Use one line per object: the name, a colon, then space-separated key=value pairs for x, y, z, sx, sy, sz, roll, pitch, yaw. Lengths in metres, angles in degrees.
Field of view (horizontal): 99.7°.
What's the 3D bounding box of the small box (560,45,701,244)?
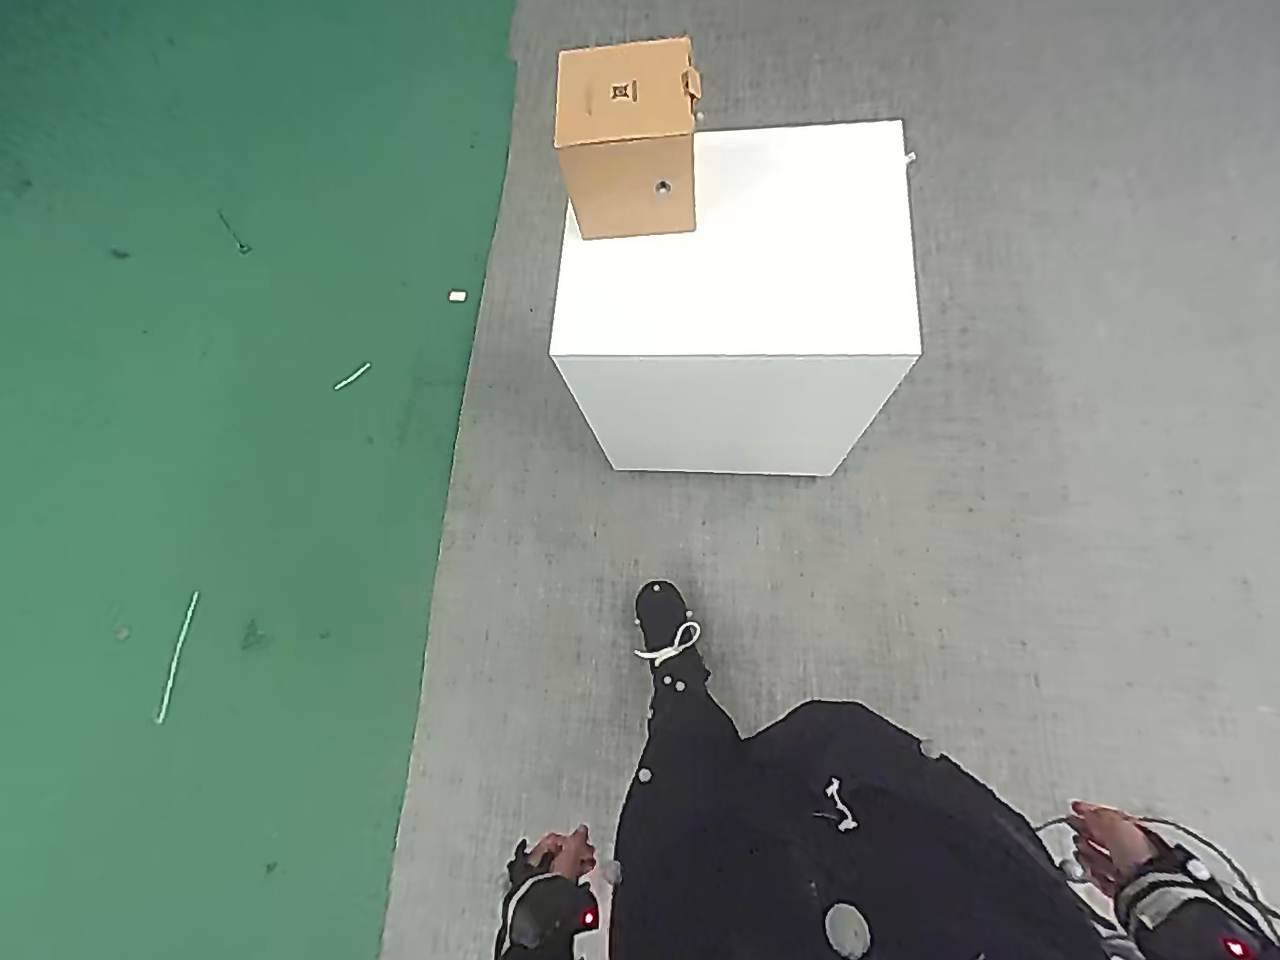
small box: x=-0.005 y=-0.461 z=0.765 sx=0.179 sy=0.176 sz=0.168 roll=-3 pitch=72 yaw=7
